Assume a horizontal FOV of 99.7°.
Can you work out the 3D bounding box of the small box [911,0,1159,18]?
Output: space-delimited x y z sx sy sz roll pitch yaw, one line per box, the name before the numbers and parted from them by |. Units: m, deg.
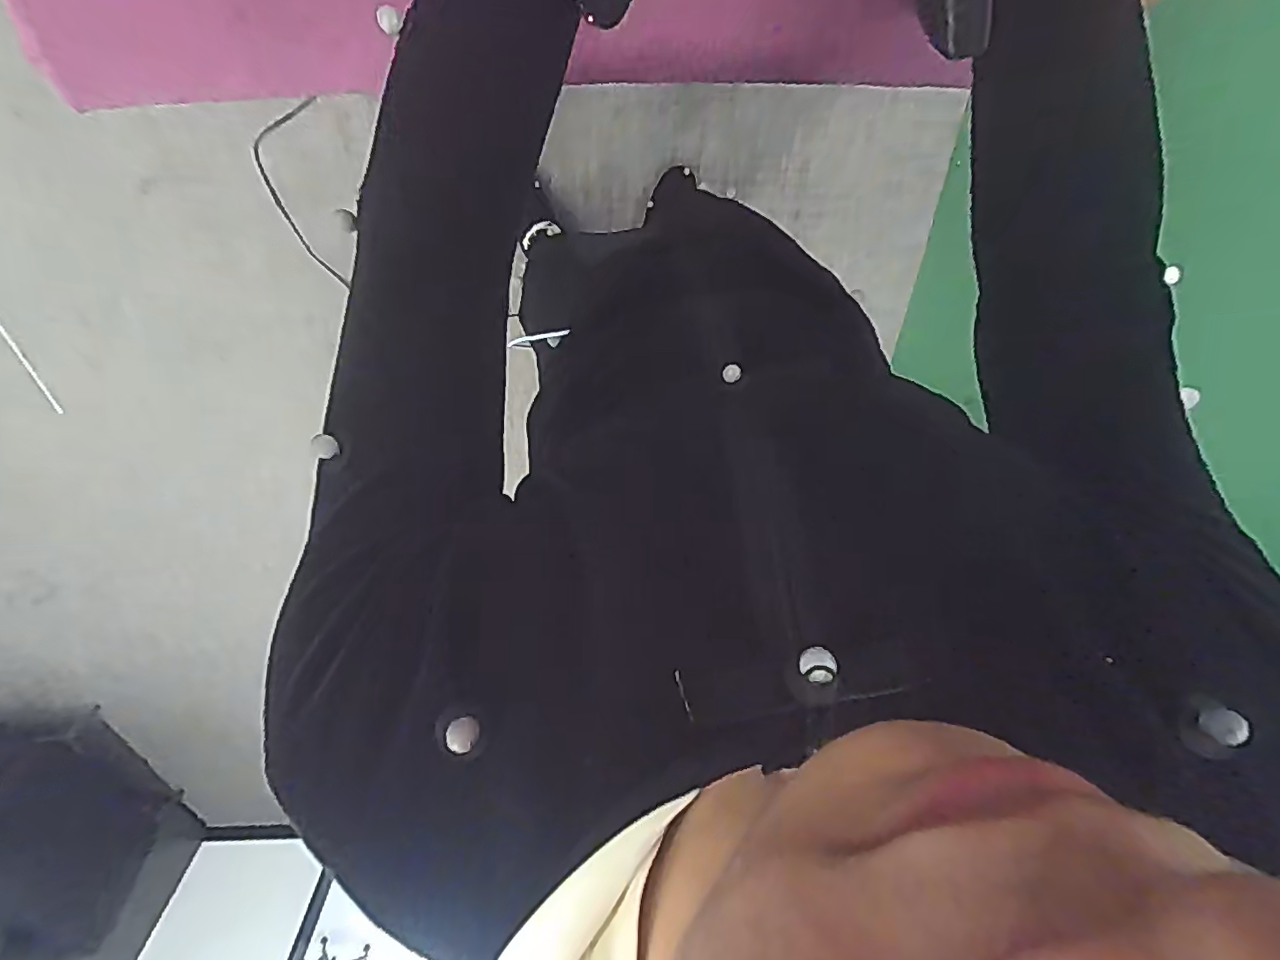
small box | 0.379 -0.530 0.477 0.179 0.176 0.168 2 124 -3
